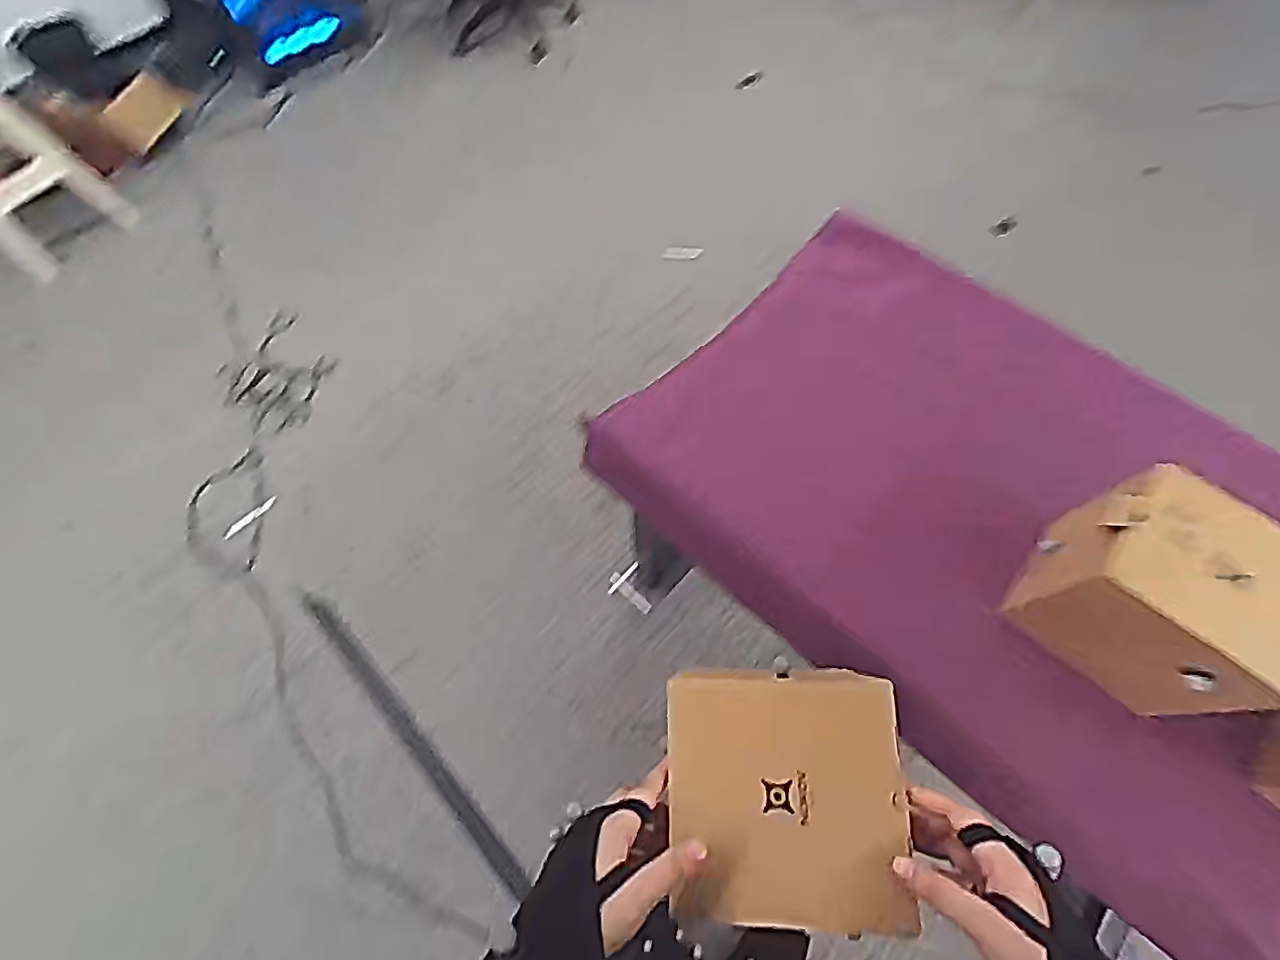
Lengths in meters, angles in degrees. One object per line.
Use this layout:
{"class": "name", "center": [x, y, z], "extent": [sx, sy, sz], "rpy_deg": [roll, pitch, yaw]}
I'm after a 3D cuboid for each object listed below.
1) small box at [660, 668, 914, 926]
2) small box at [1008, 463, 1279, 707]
{"class": "small box", "center": [0.115, 0.259, 0.484], "extent": [0.179, 0.176, 0.168], "rpy_deg": [-4, 72, 7]}
{"class": "small box", "center": [0.556, 0.121, 0.581], "extent": [0.179, 0.176, 0.168], "rpy_deg": [39, 70, 18]}
